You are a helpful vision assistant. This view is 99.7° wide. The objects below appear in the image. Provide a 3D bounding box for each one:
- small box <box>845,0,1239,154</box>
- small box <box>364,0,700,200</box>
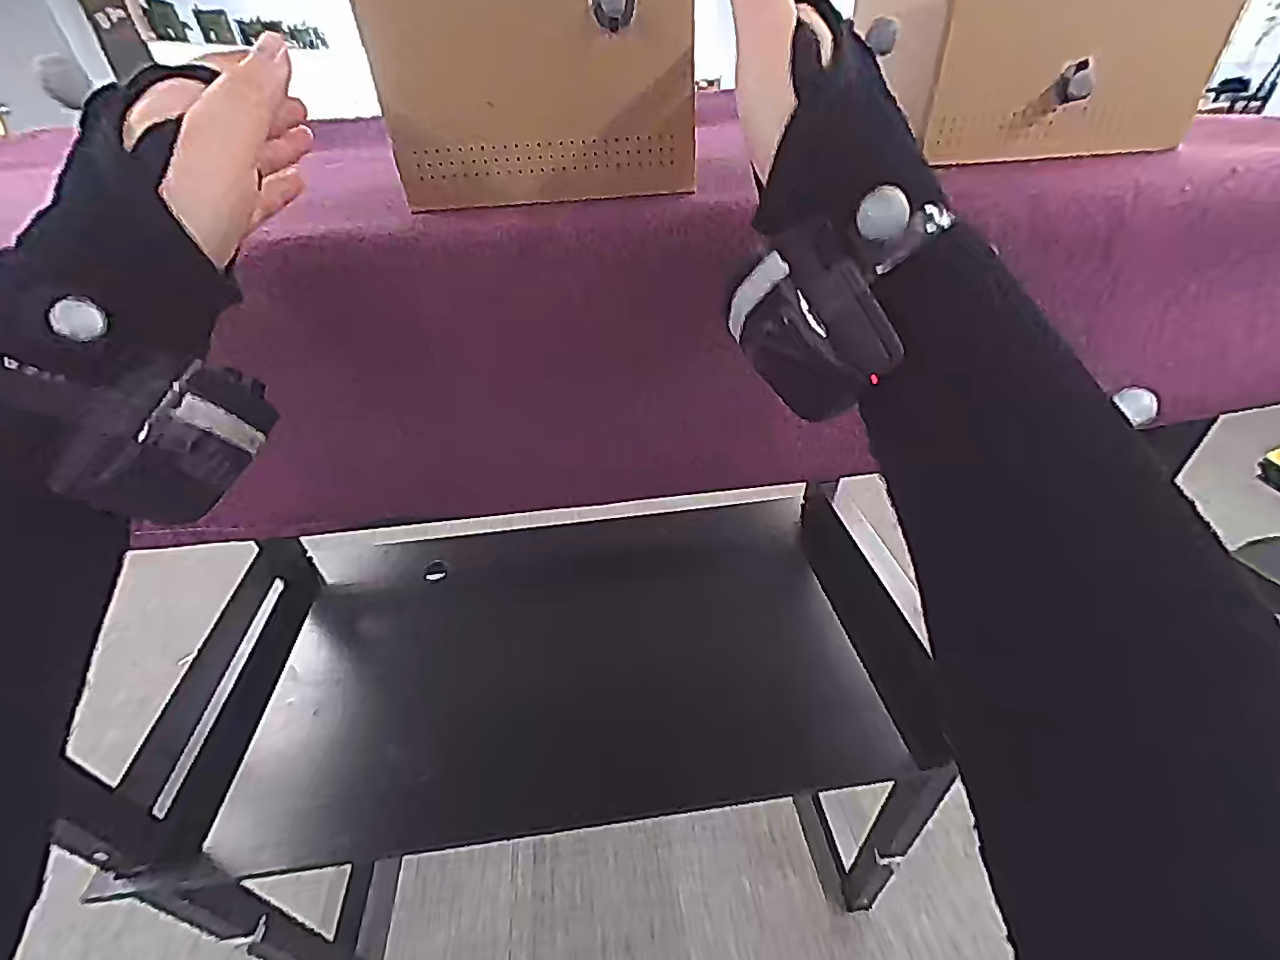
[{"bbox_3d":[0.262,-0.330,0.364,0.179,0.176,0.168,-3,36,0],"label":"small box"},{"bbox_3d":[-0.058,-0.286,0.339,0.179,0.176,0.168,-5,36,-2],"label":"small box"}]
